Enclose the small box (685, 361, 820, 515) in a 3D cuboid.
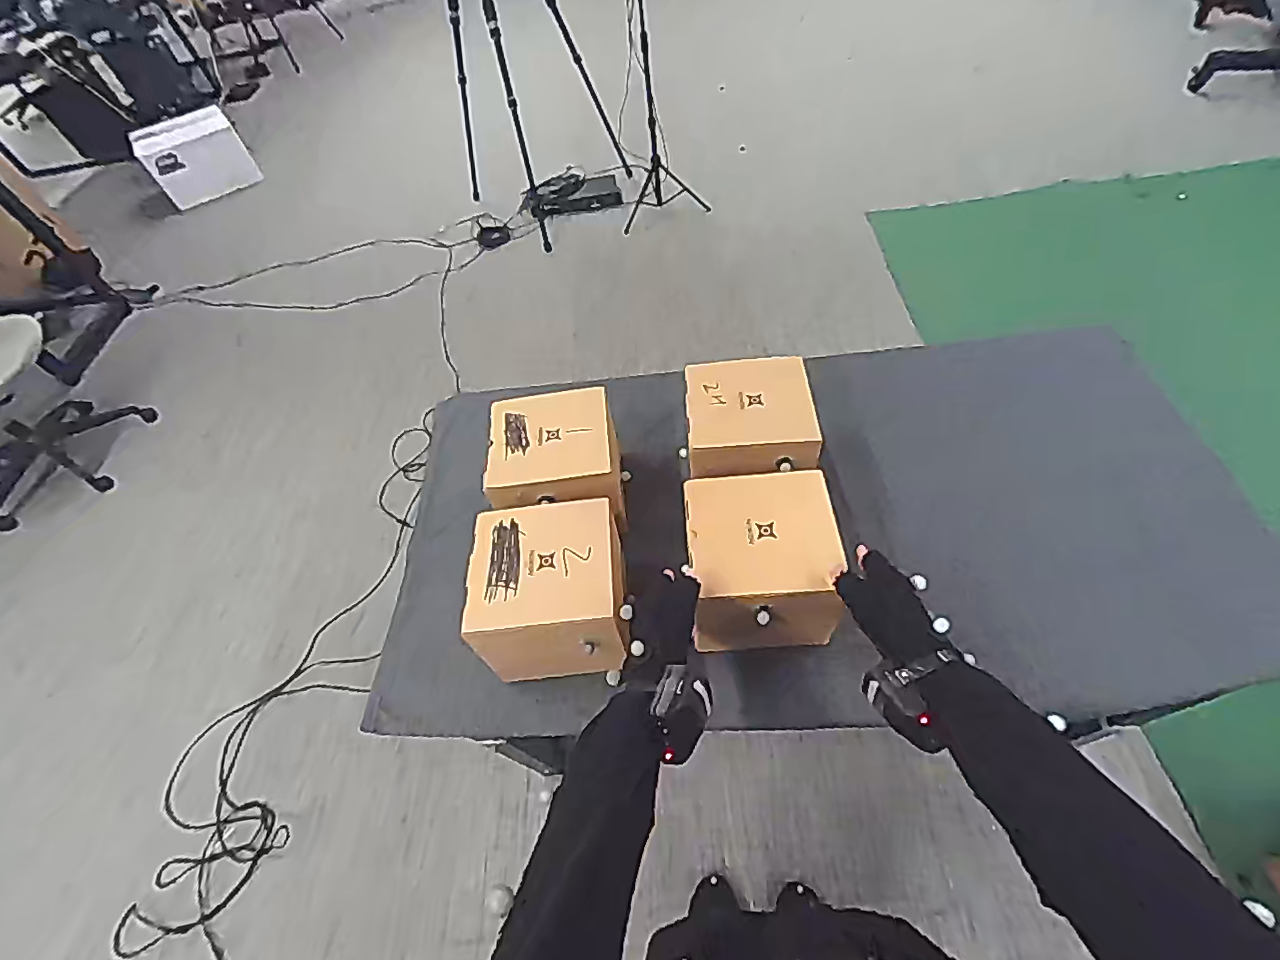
[{"bbox_3d":[0.160,-0.059,0.822,0.179,0.176,0.168,-3,54,6],"label":"small box"}]
